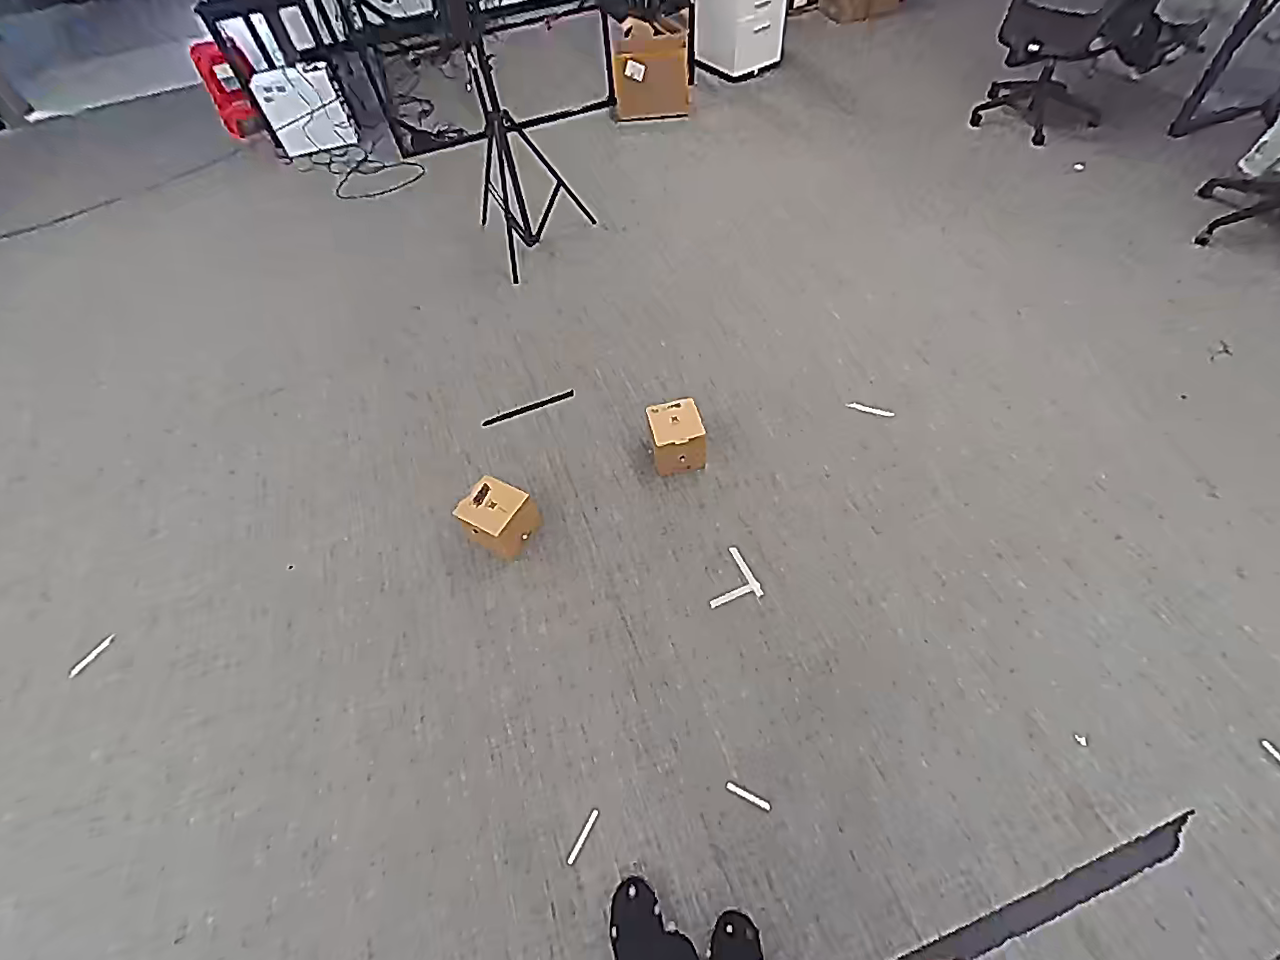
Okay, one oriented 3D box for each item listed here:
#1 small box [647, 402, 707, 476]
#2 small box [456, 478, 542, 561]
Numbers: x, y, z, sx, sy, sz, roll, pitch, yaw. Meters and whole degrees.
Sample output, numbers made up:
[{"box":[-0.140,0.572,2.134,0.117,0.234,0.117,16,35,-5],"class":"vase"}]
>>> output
[{"box":[0.126,-0.130,1.827,0.168,0.176,0.179,-12,55,-3],"class":"small box"},{"box":[-0.436,0.128,1.696,0.179,0.176,0.168,23,60,20],"class":"small box"}]
